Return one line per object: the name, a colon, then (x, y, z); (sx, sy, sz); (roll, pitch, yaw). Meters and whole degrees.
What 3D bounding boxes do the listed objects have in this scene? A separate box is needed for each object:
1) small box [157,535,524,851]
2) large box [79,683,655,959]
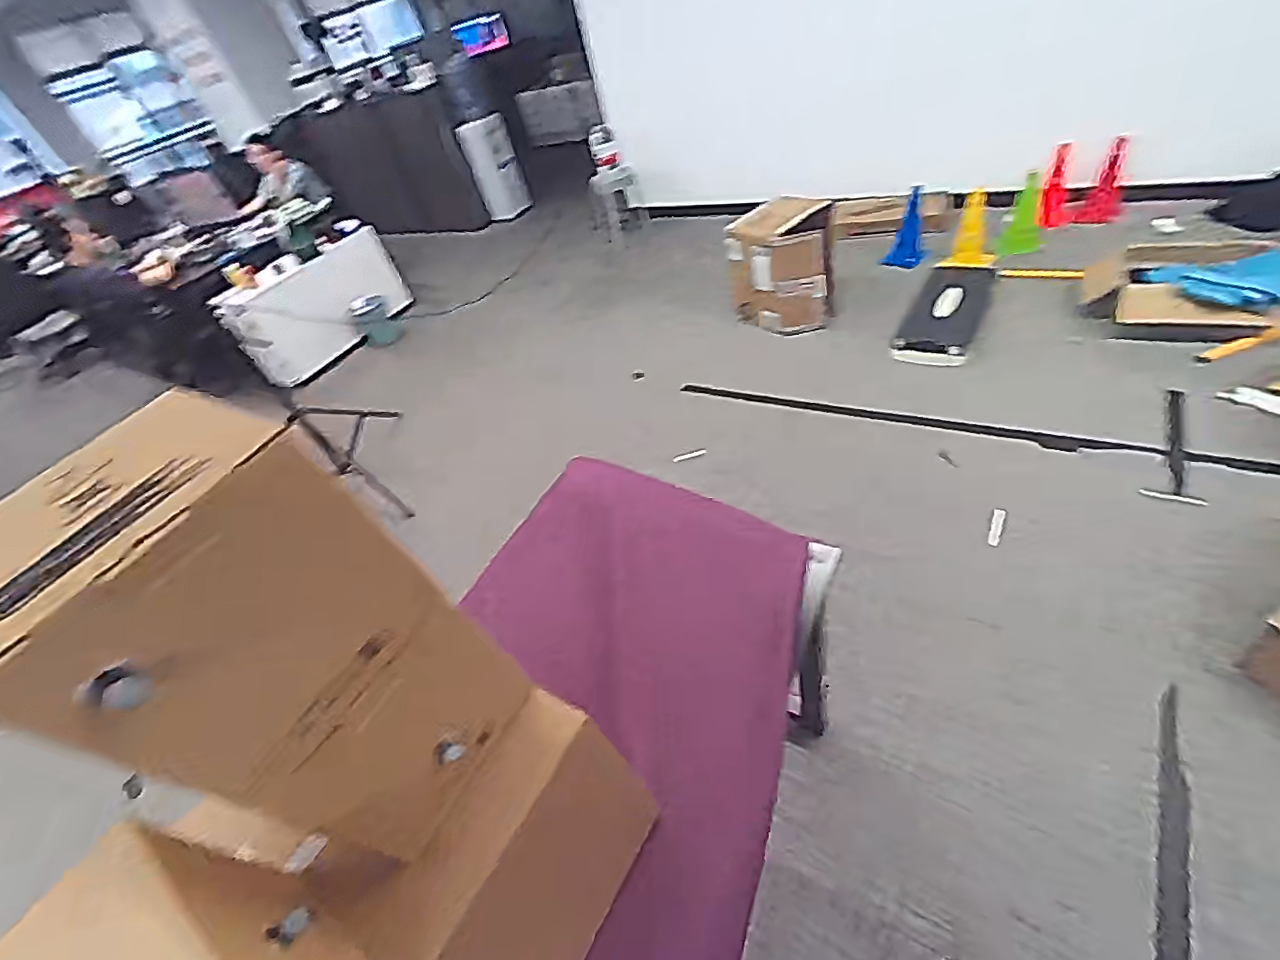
small box: (-0.235, 0.177, 0.460); (0.179, 0.176, 0.168); (14, 54, 31)
large box: (-0.233, 0.425, 0.568); (0.320, 0.320, 0.408); (13, 53, 32)
